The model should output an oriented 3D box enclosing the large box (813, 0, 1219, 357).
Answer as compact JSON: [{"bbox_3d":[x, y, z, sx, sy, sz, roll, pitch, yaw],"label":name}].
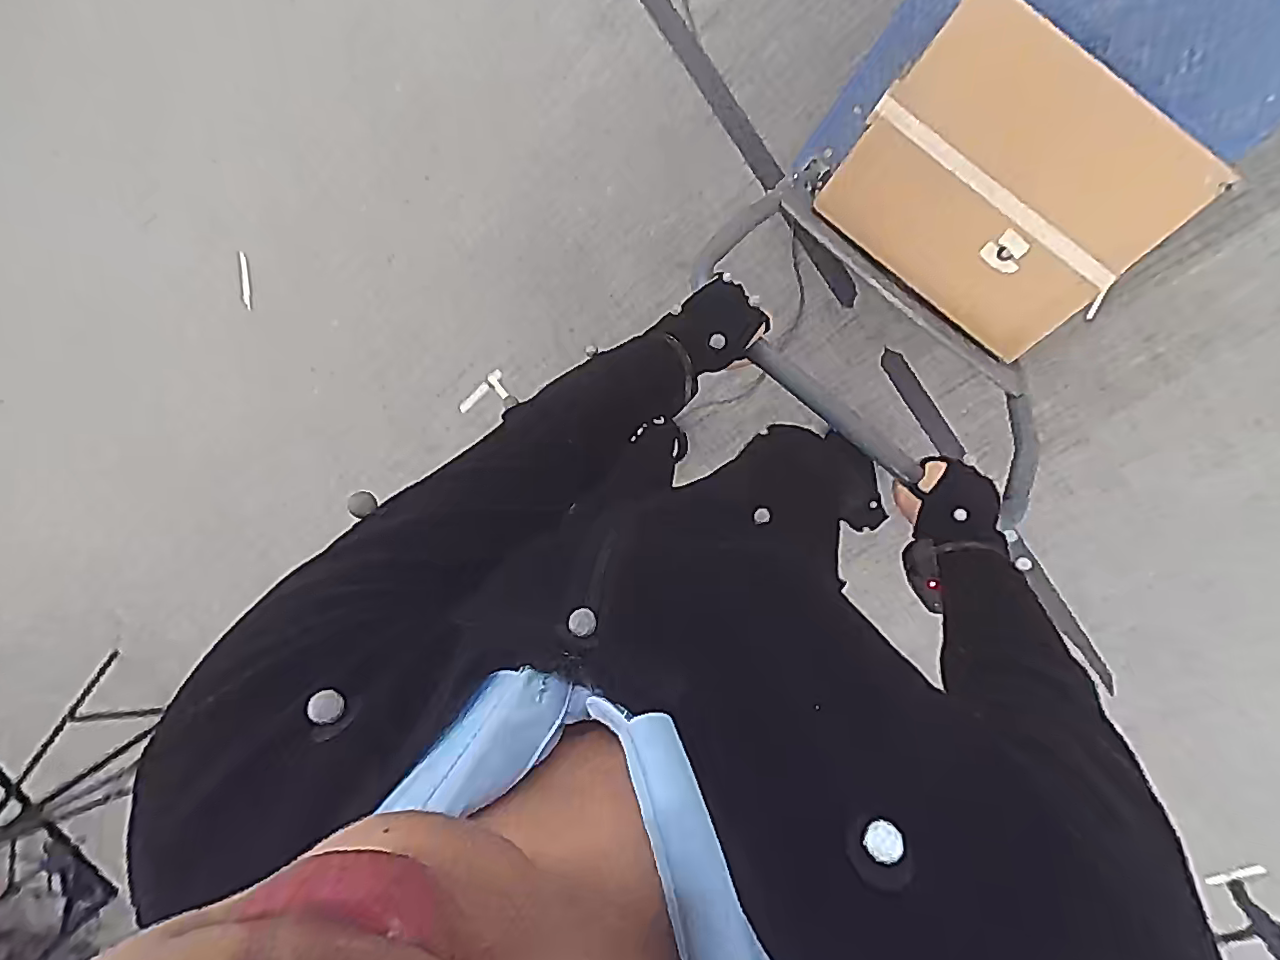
[{"bbox_3d":[0.558,-0.482,0.889,0.408,0.320,0.320,38,130,-1],"label":"large box"}]
